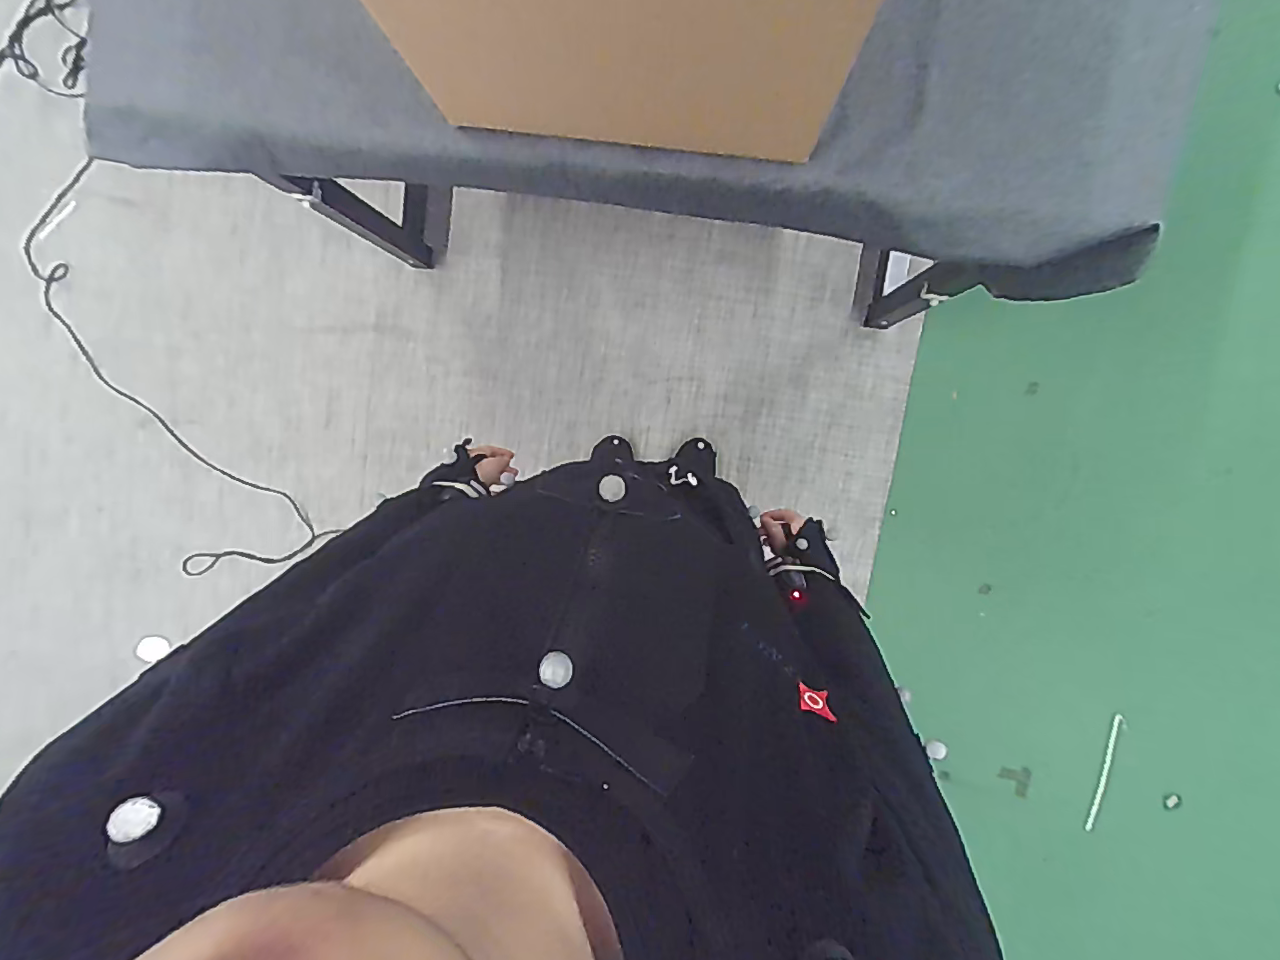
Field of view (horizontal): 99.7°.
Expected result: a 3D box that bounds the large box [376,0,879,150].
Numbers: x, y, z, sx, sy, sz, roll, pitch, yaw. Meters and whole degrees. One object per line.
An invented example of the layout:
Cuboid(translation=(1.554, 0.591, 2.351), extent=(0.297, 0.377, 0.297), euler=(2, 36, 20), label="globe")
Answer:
Cuboid(translation=(-0.005, -0.517, 0.438), extent=(0.408, 0.320, 0.320), euler=(7, 95, 2), label="large box")
